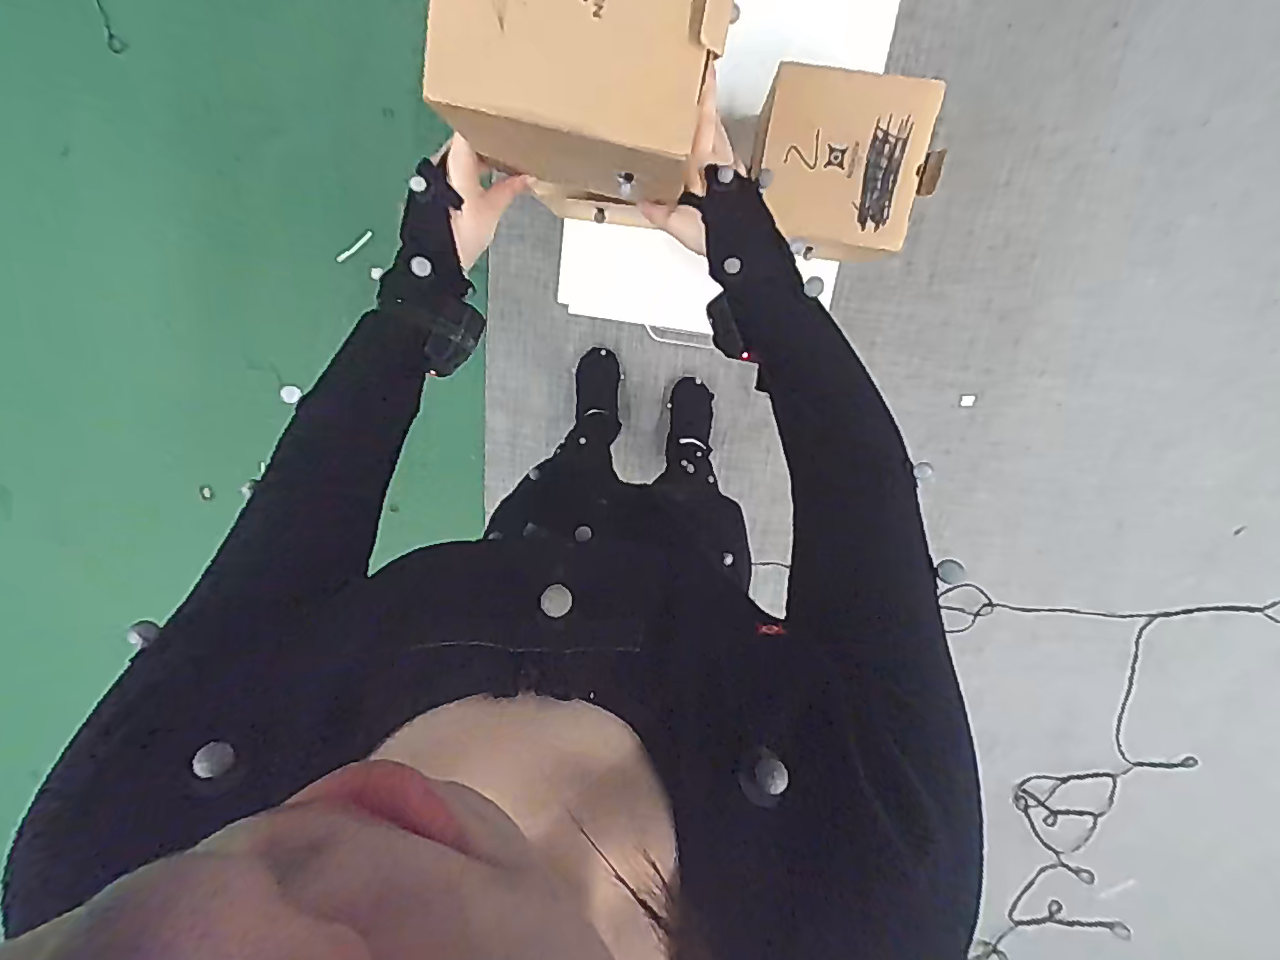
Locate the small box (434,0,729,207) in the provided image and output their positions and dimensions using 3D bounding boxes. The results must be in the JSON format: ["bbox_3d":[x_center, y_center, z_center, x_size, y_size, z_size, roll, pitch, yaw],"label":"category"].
[{"bbox_3d":[-0.032,-0.322,0.409,0.179,0.176,0.168,11,105,-2],"label":"small box"}]

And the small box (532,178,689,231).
[{"bbox_3d":[-0.023,-0.412,0.662,0.179,0.176,0.168,7,108,0],"label":"small box"}]
